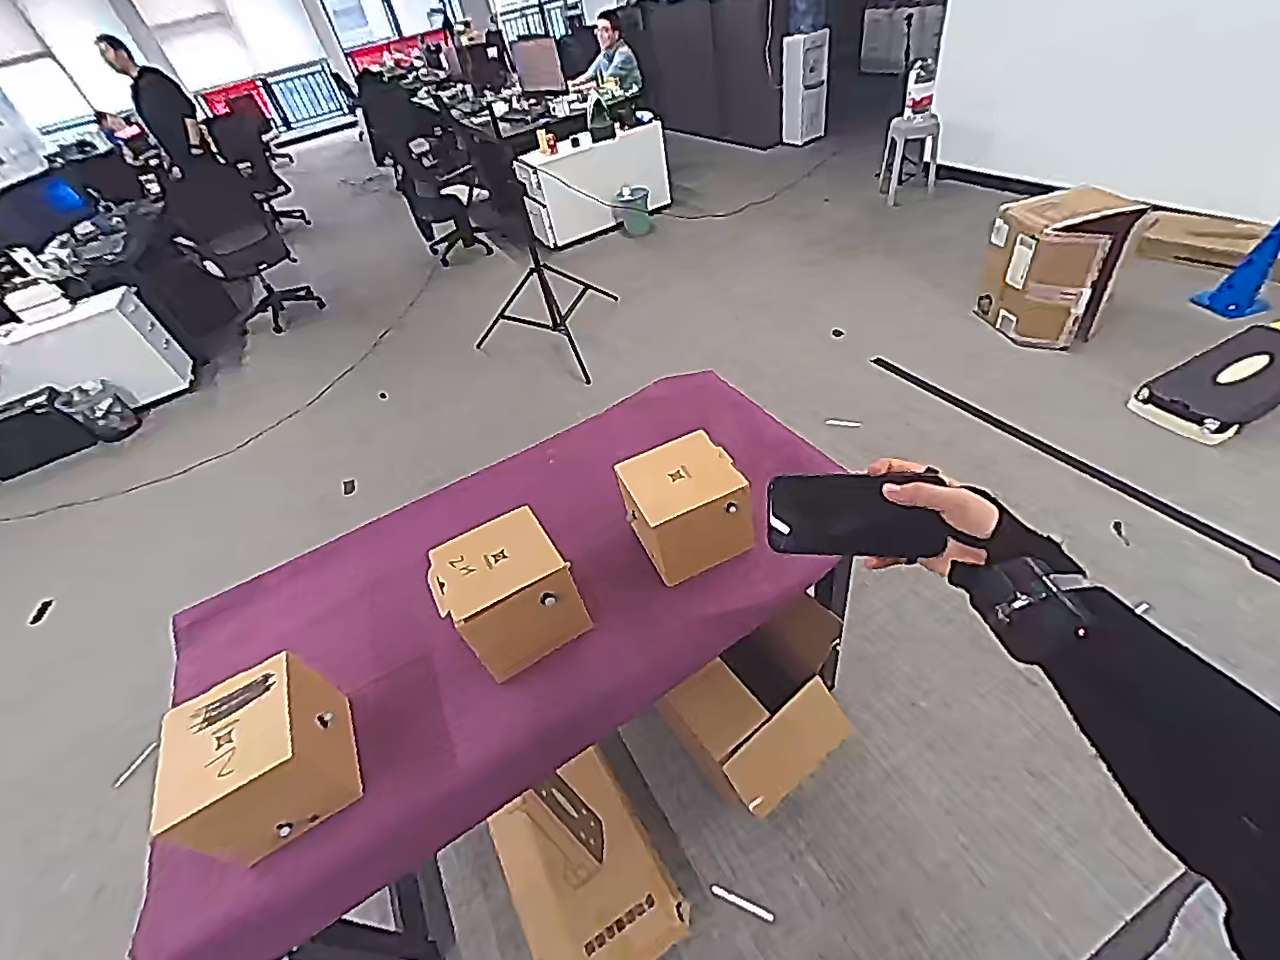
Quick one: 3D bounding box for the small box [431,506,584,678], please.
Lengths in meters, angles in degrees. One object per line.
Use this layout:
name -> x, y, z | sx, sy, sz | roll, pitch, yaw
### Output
small box -> -0.205, 0.181, 0.877 | 0.179, 0.176, 0.168 | -29, 43, -15

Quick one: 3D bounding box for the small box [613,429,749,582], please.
small box -> 0.076, 0.047, 0.944 | 0.179, 0.176, 0.168 | -23, 44, -10
